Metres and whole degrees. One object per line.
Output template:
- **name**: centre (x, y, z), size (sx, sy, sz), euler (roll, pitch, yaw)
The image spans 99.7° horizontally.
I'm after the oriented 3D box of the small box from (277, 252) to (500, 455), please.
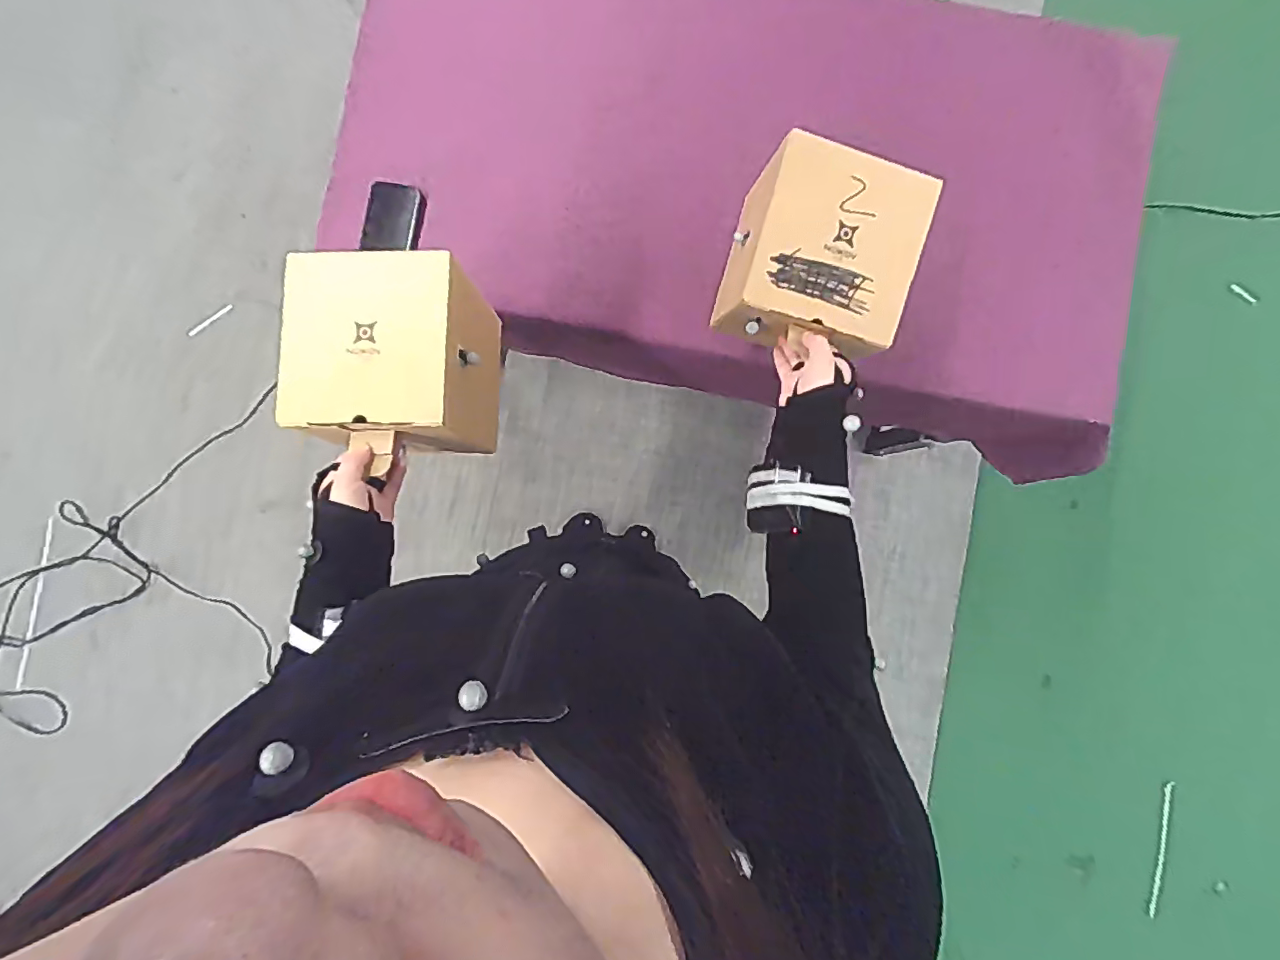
- **small box**: centre (-0.260, -0.128, 0.601), size (0.168, 0.176, 0.179), euler (1, 85, 1)
